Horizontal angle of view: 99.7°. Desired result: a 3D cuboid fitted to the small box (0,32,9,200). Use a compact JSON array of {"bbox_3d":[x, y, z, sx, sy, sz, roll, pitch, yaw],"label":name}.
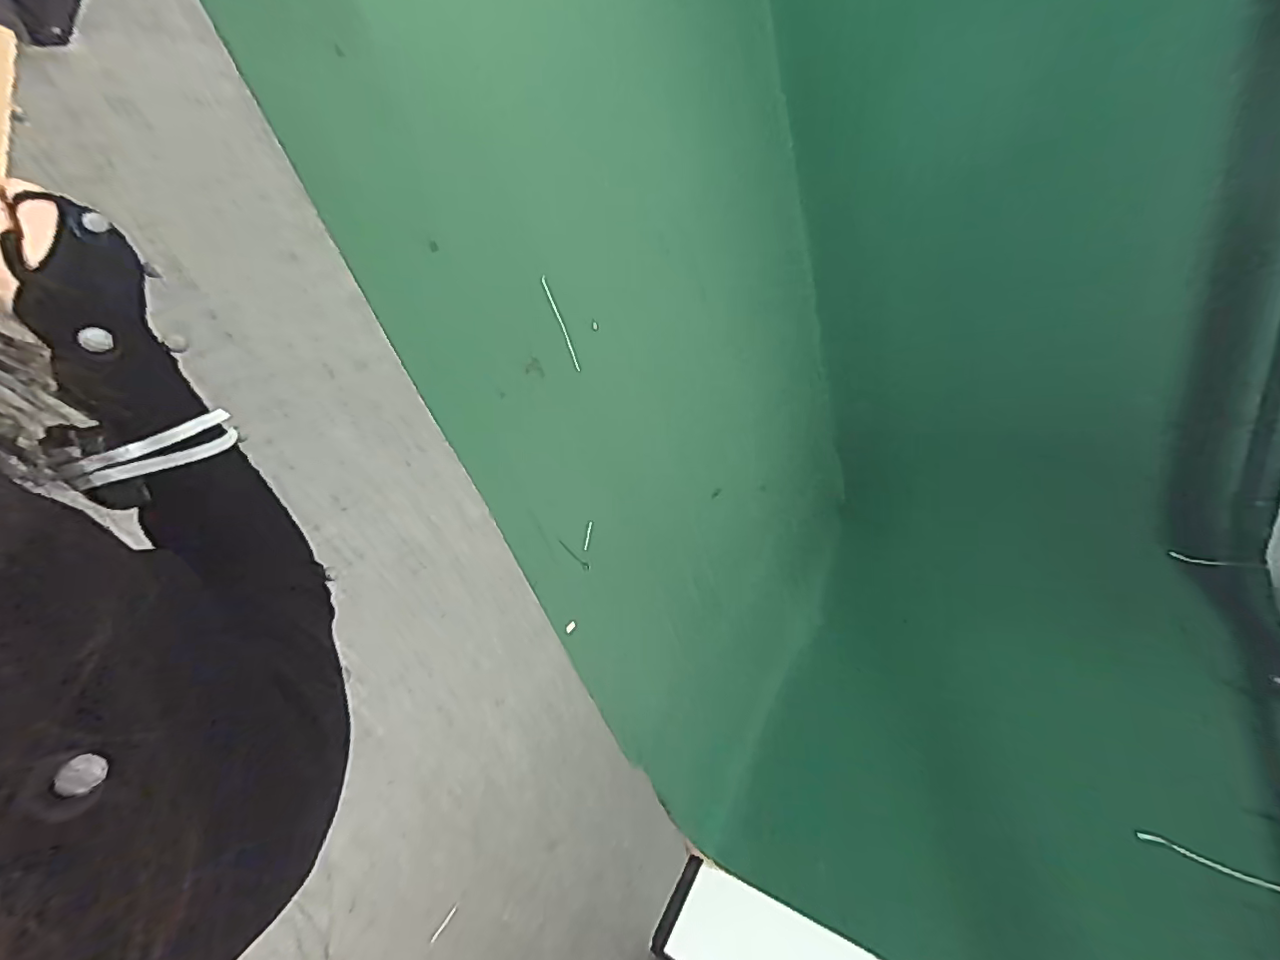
[{"bbox_3d":[-0.518,-0.212,0.311,0.168,0.176,0.179,-5,105,-64],"label":"small box"}]
